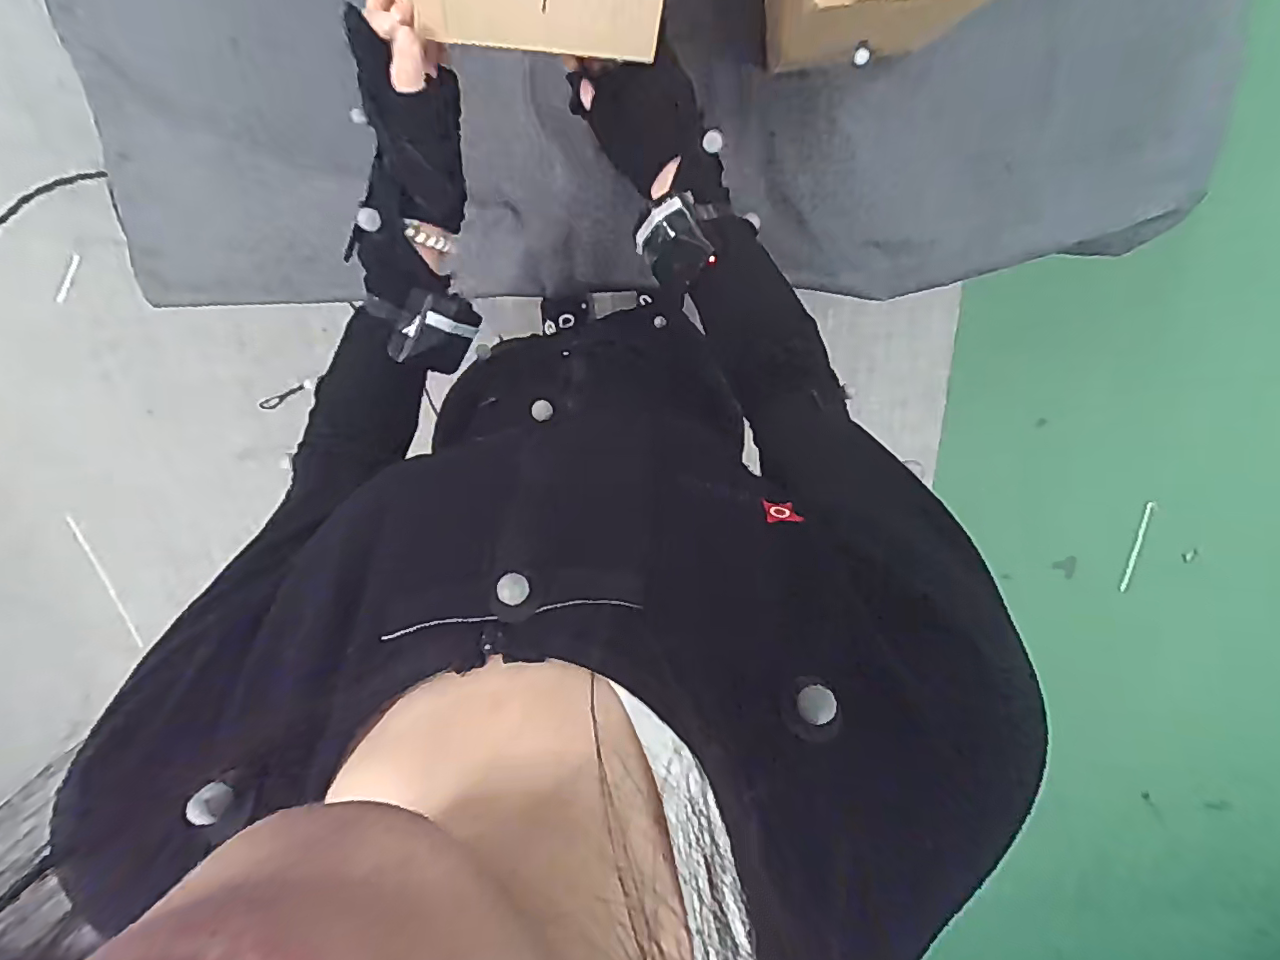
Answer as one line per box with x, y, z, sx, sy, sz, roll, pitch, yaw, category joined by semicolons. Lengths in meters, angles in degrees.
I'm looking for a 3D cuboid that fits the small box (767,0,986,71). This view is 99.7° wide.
0.210;-0.499;0.475;0.168;0.176;0.179;-6;112;2;small box
